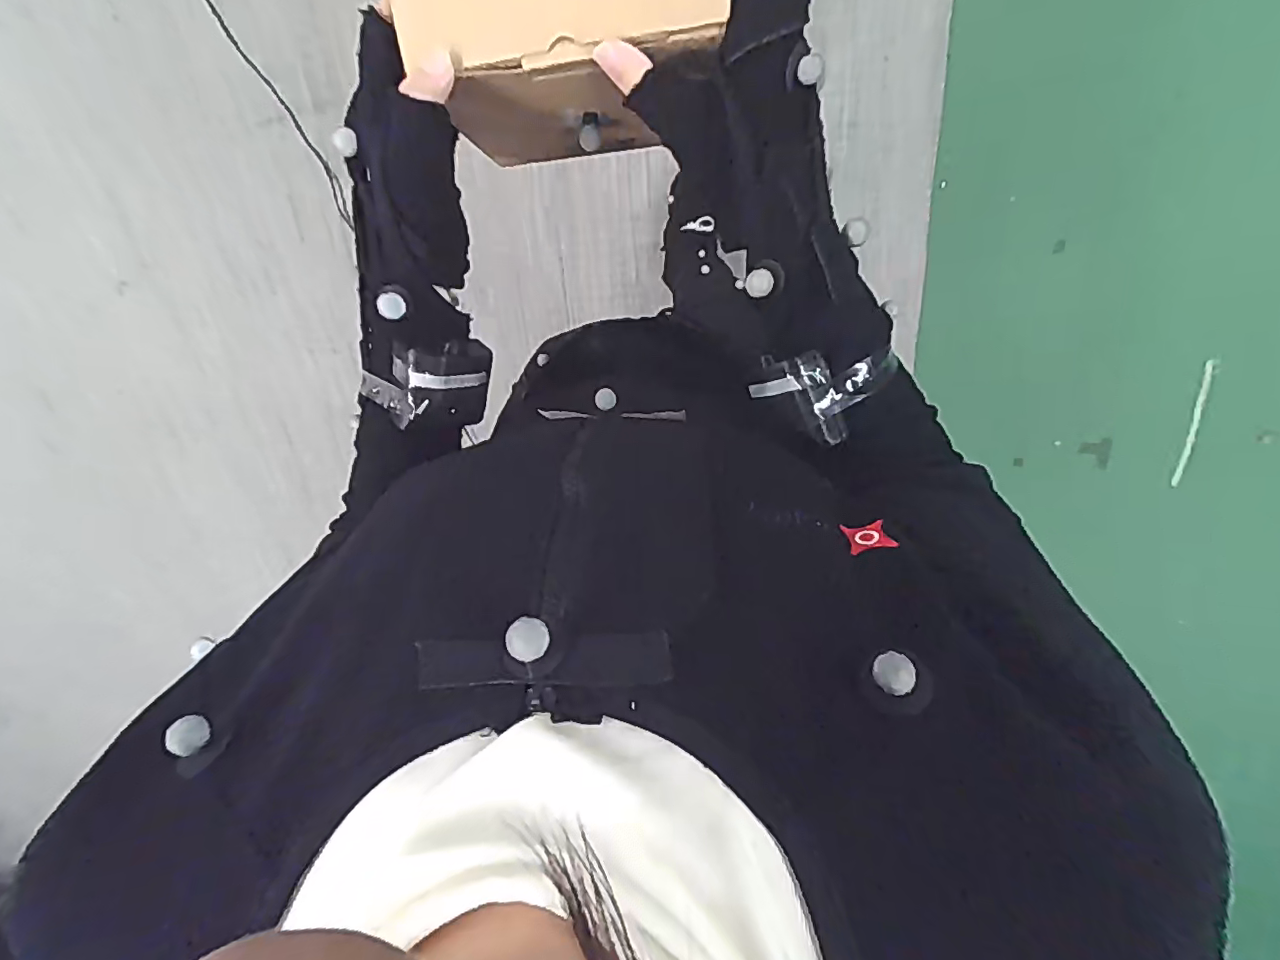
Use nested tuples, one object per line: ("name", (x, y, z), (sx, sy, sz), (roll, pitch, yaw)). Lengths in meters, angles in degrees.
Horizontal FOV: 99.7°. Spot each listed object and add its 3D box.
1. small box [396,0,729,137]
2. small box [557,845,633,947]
("small box", (-0.041, -0.322, 0.315), (0.168, 0.176, 0.179), (-6, 108, 5))
("small box", (-0.120, 1.147, 1.502), (0.179, 0.176, 0.168), (-4, 110, 5))
